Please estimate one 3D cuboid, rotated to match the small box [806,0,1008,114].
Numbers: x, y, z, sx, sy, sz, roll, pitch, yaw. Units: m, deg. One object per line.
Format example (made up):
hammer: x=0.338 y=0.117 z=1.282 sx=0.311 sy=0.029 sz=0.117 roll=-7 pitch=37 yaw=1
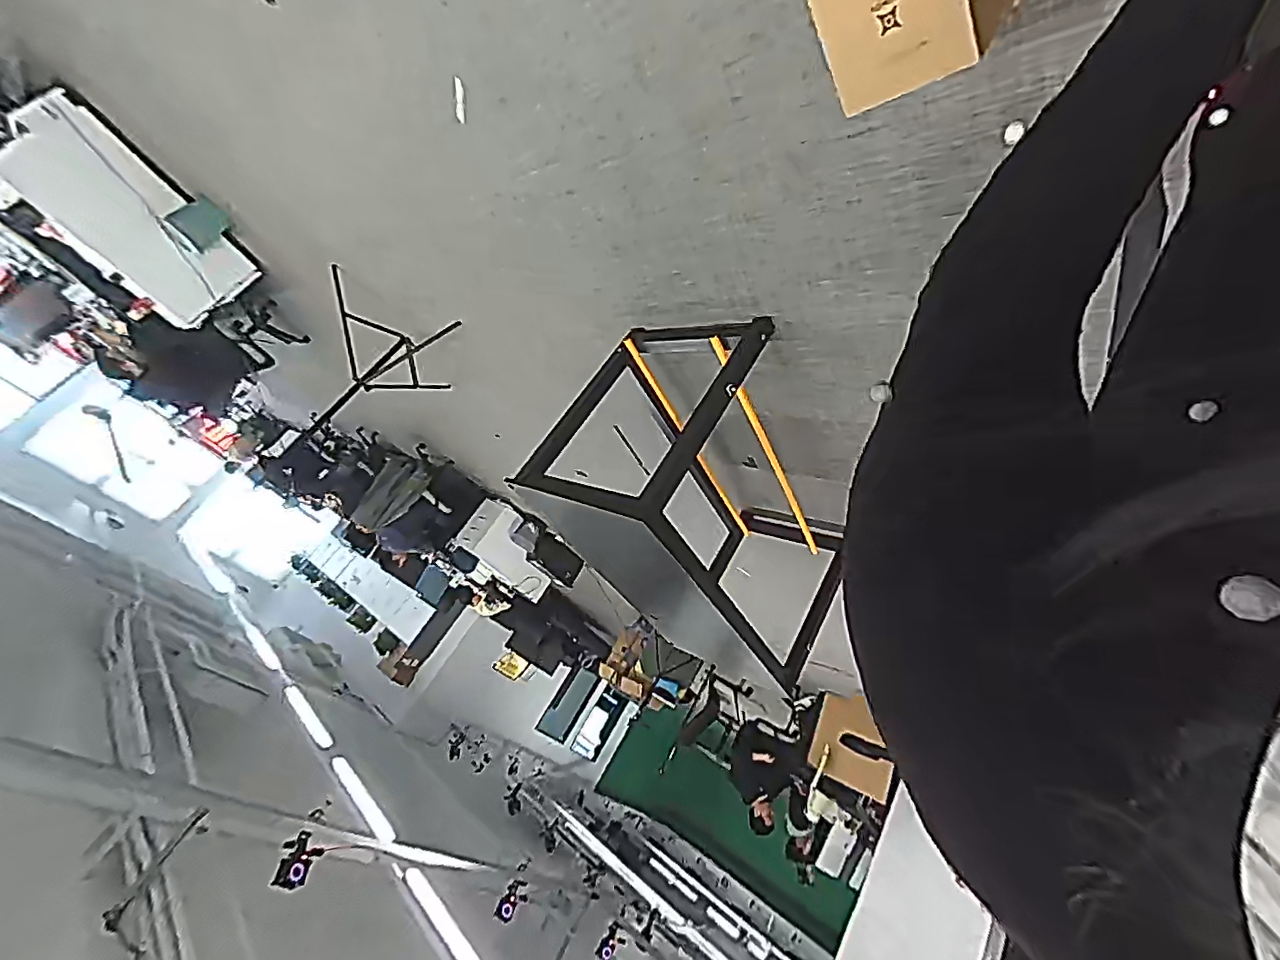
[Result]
small box: x=0.326 y=-0.604 z=0.655 sx=0.168 sy=0.176 sz=0.179 roll=9 pitch=149 yaw=49
